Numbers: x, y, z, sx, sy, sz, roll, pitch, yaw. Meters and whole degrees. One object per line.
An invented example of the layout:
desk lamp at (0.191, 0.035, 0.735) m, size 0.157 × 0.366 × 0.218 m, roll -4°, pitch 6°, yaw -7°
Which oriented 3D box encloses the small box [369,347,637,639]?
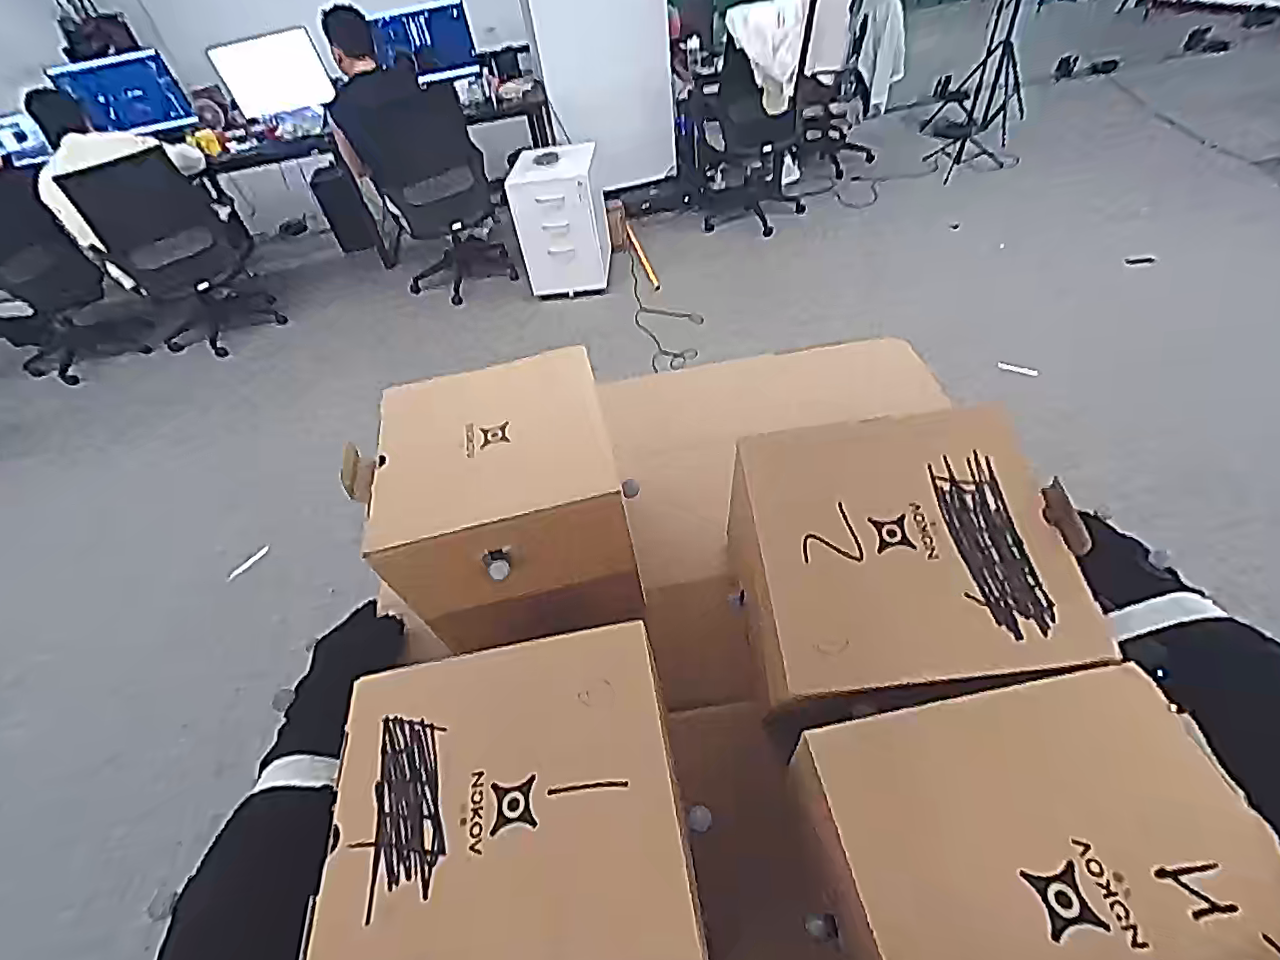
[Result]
small box at (-0.104, 0.016, 0.476) m, size 0.179 × 0.176 × 0.168 m, roll -15°, pitch 50°, yaw -2°
